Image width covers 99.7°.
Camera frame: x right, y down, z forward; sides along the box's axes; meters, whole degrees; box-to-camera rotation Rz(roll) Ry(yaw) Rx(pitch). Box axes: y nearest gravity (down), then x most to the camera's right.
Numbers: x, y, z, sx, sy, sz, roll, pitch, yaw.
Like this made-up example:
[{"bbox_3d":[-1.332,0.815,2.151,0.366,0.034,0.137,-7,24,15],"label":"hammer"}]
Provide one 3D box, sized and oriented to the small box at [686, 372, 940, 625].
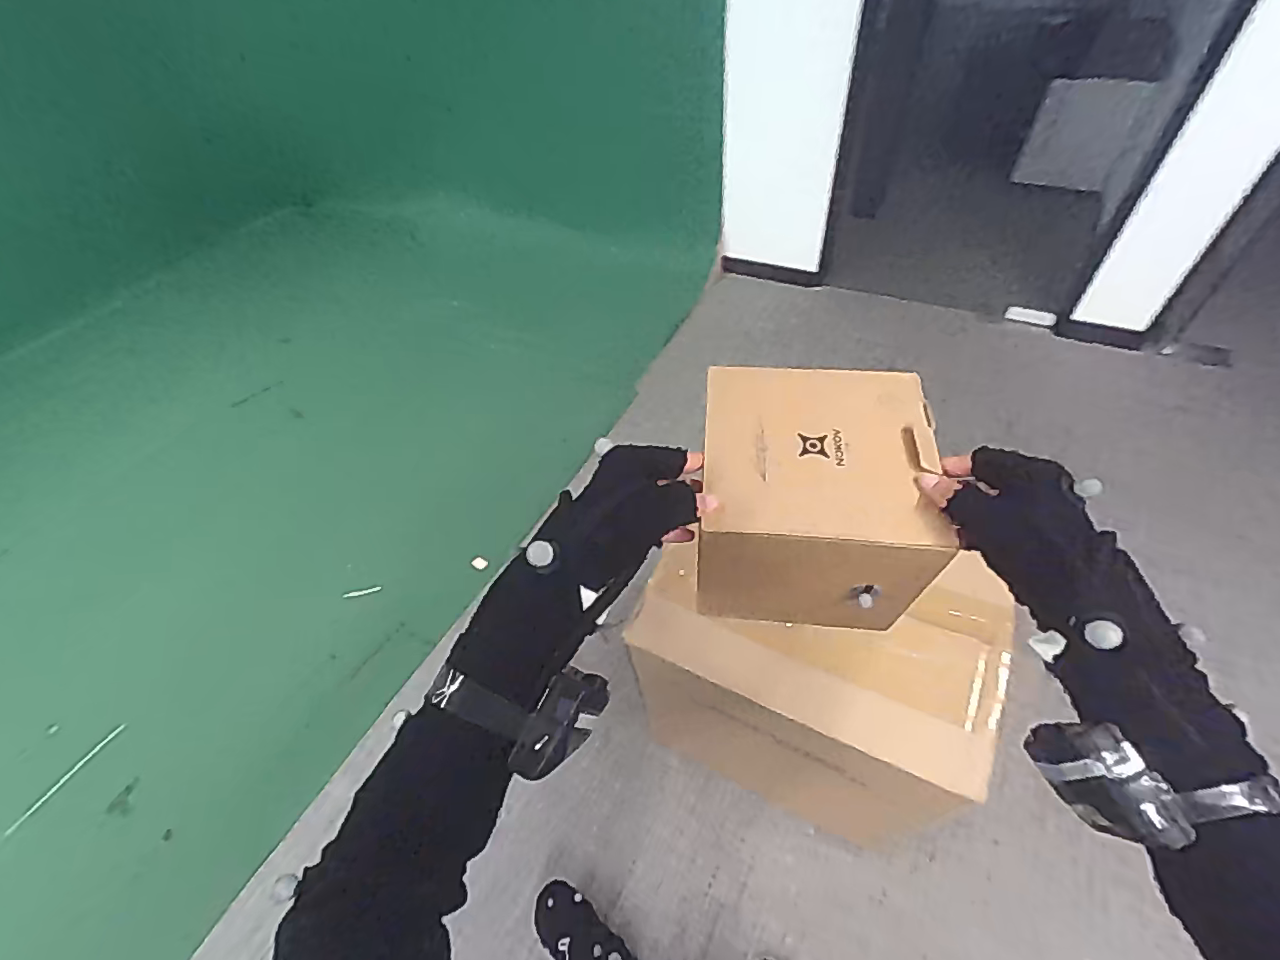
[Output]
[{"bbox_3d":[0.133,0.022,0.486,0.179,0.176,0.168,1,55,8],"label":"small box"}]
